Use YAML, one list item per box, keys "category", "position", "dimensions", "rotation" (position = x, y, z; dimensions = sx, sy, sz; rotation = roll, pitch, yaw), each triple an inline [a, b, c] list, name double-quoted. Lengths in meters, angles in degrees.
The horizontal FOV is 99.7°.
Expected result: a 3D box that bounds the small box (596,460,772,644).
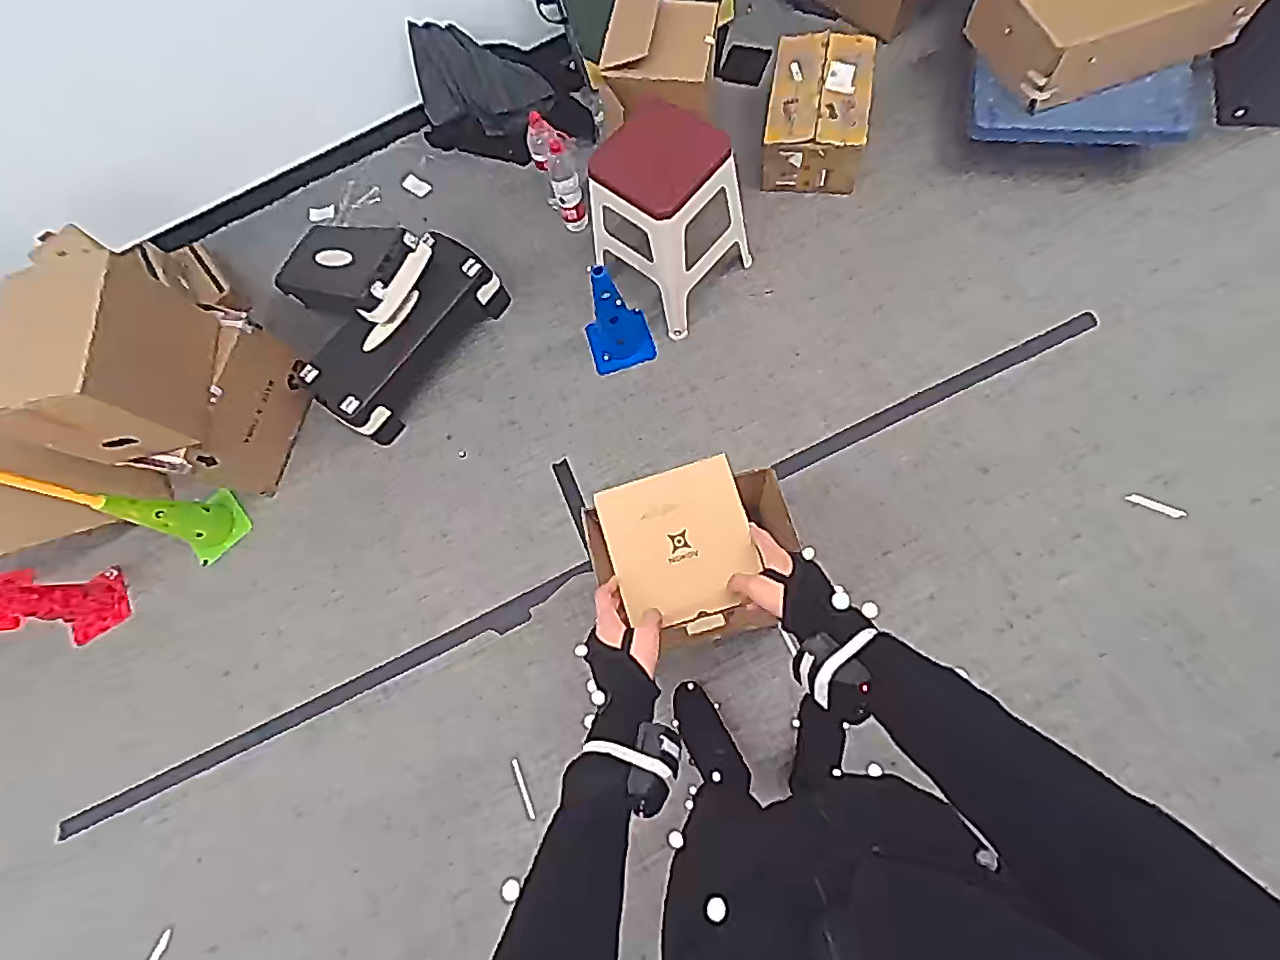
- category: "small box"
  position: [0.054, 0.091, 0.692]
  dimensions: [0.168, 0.176, 0.179]
  rotation: [-17, 80, 0]
